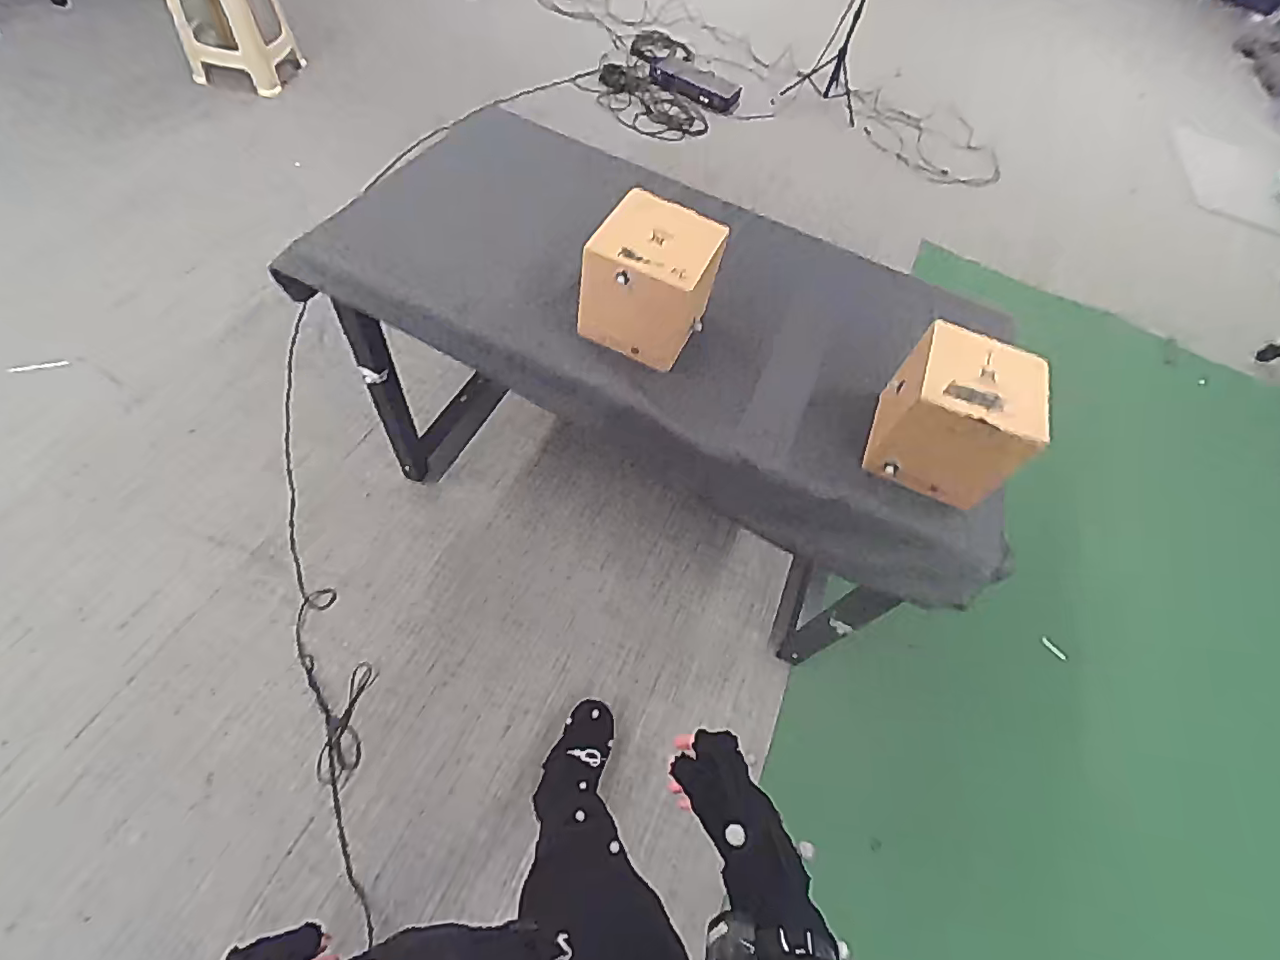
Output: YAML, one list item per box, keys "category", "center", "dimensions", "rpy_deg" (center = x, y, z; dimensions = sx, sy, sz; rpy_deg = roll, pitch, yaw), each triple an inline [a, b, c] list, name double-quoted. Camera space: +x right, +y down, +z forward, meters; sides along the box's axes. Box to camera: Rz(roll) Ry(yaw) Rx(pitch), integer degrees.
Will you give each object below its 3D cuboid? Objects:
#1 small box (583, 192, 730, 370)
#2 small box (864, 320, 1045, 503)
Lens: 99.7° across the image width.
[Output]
- category: "small box"
  center: [0.019, -0.312, 0.858]
  dimensions: [0.168, 0.176, 0.179]
  rpy_deg: [25, 58, 6]
- category: "small box"
  center: [0.455, -0.095, 0.800]
  dimensions: [0.168, 0.176, 0.179]
  rpy_deg: [24, 57, 8]
